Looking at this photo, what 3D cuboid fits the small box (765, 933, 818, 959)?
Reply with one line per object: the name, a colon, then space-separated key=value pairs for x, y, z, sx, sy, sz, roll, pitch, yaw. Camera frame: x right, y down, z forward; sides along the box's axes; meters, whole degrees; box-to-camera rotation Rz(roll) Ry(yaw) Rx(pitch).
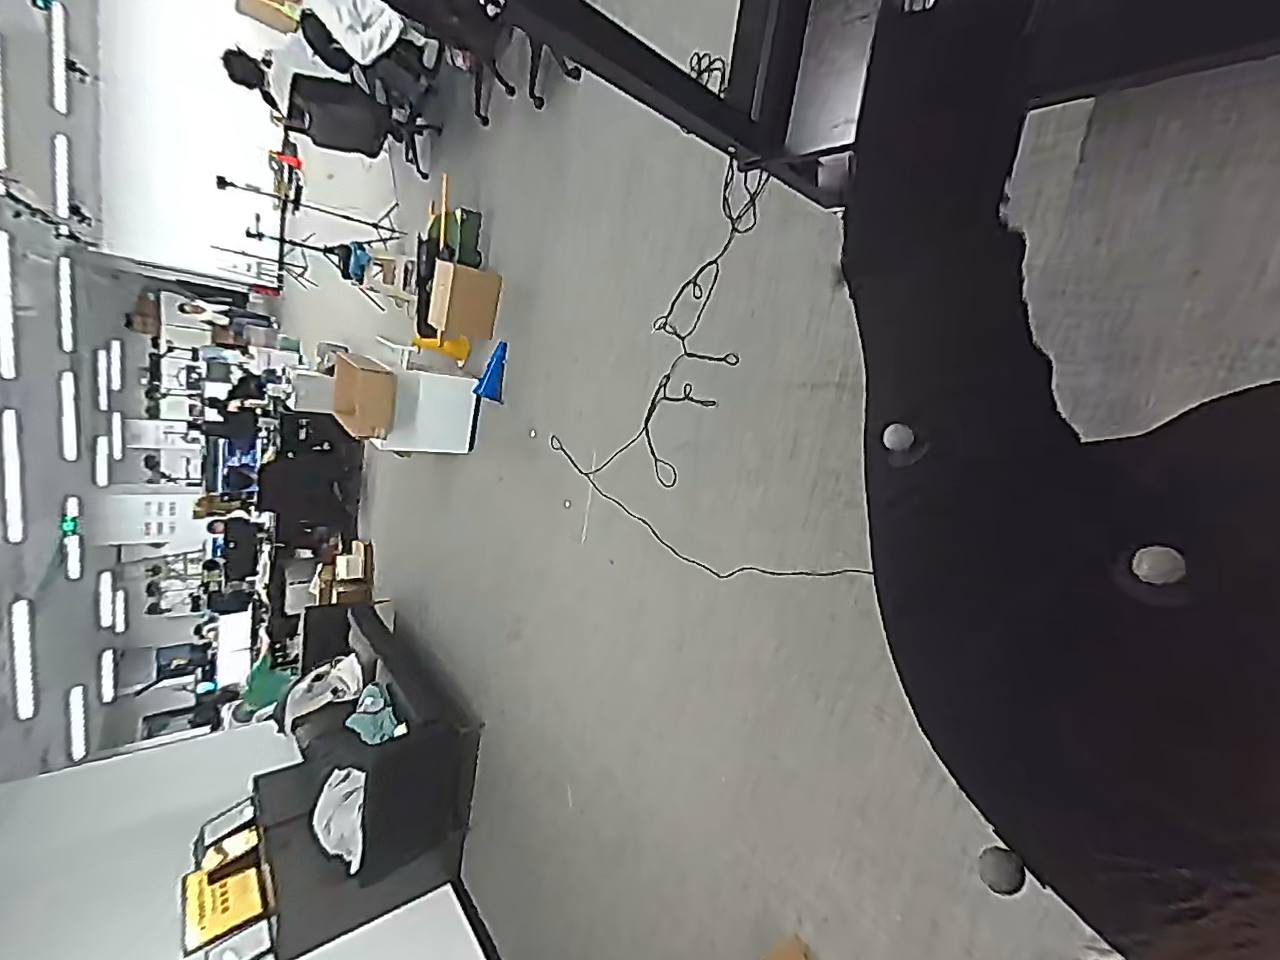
small box: x=0.471 y=1.589 z=1.689 sx=0.168 sy=0.176 sz=0.179 roll=35 pitch=115 yaw=44
